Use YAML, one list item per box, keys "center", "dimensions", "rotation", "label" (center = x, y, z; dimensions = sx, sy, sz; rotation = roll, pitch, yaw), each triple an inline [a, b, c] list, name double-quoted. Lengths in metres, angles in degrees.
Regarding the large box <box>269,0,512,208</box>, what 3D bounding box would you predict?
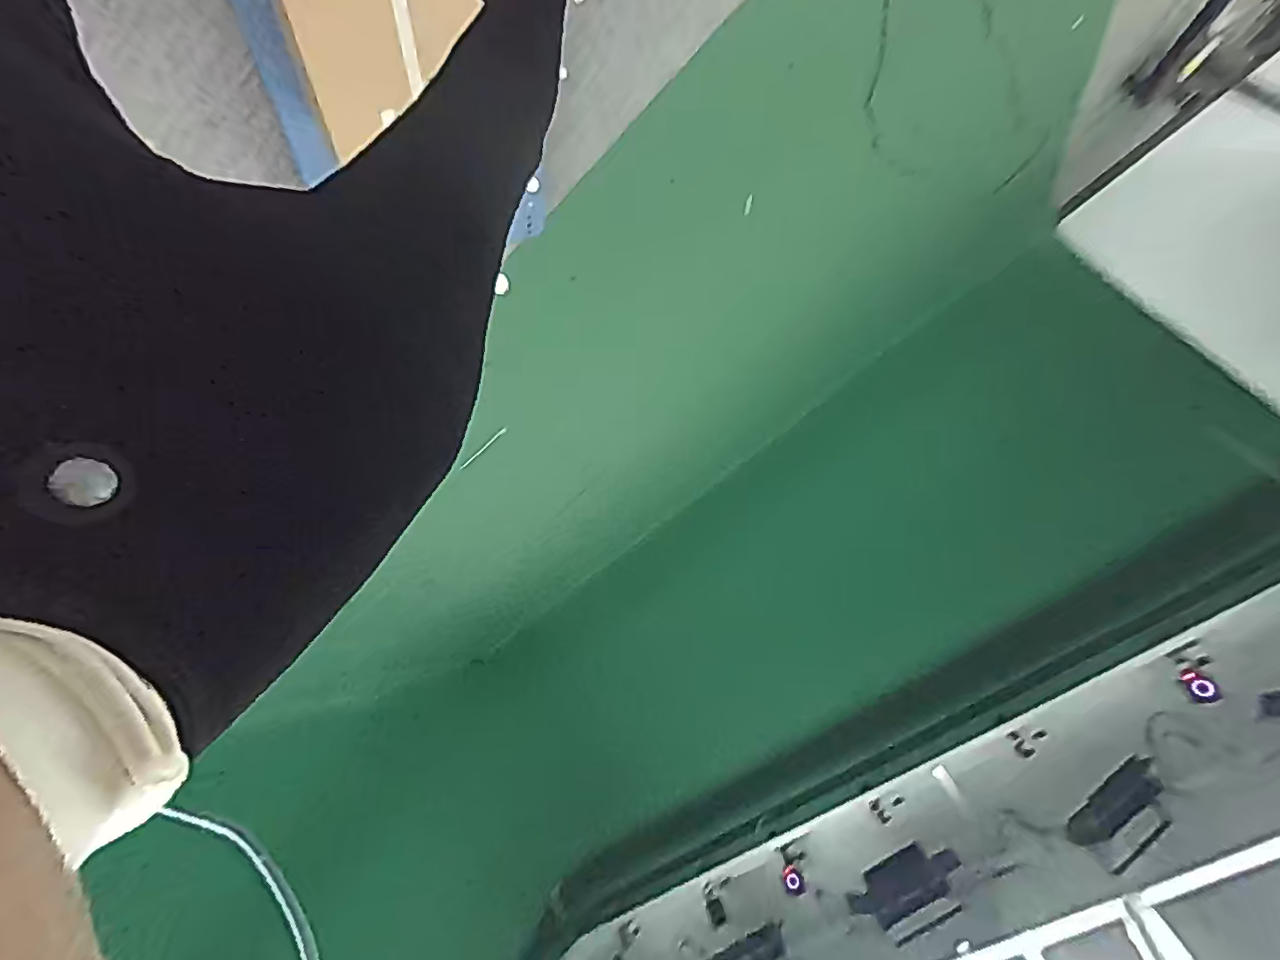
- center: [-0.448, -0.781, 0.951]
  dimensions: [0.320, 0.320, 0.408]
  rotation: [-23, 156, -20]
  label: "large box"
